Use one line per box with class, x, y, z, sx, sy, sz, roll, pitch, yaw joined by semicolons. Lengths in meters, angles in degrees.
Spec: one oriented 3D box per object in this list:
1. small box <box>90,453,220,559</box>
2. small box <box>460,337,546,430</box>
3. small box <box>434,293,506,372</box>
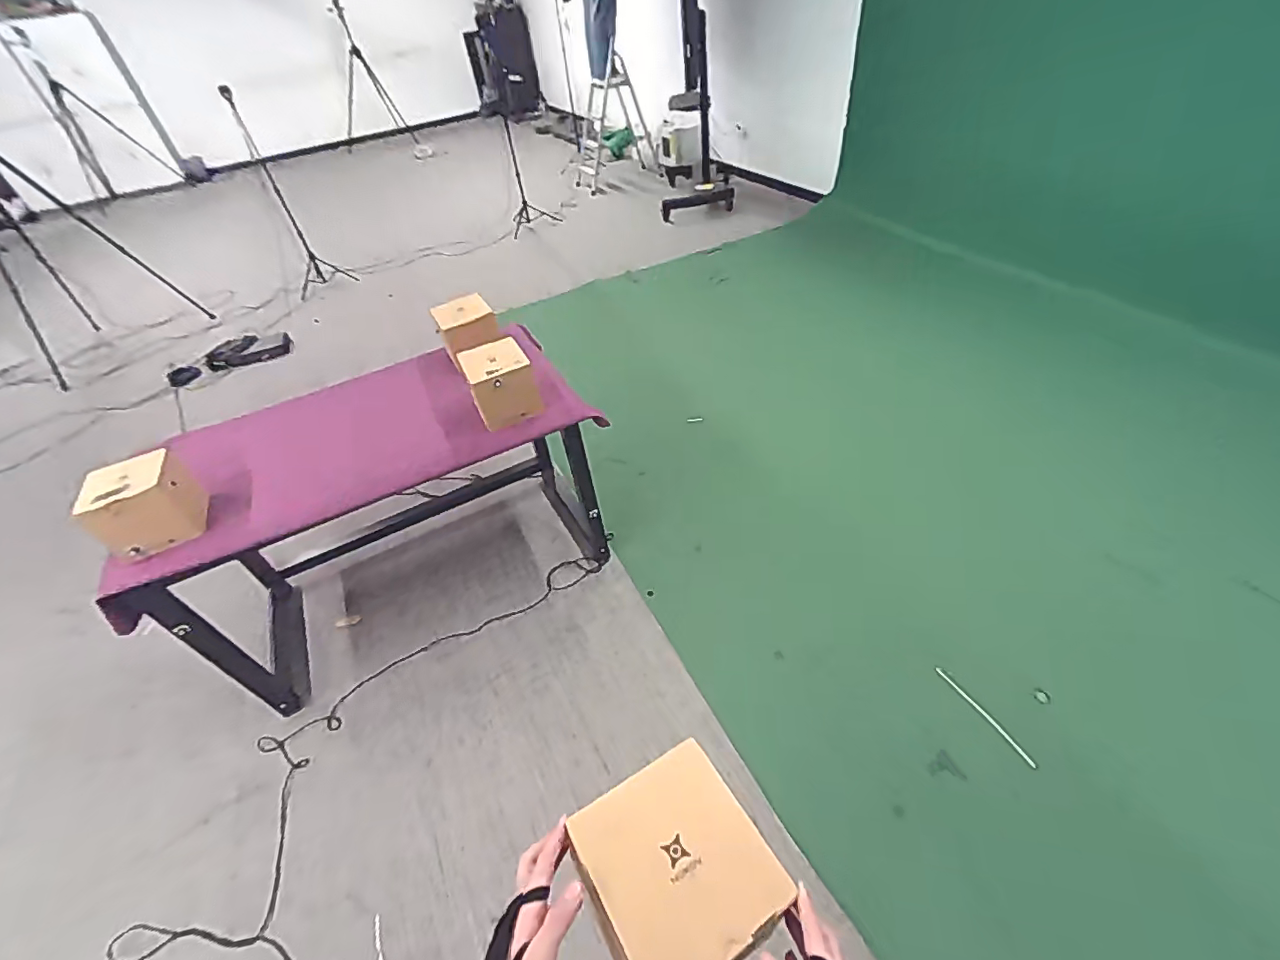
small box;-1.176;0.071;1.329;0.168;0.176;0.179;-25;44;-15
small box;-0.384;-0.271;1.529;0.168;0.176;0.179;-25;46;-13
small box;-0.546;-0.479;1.768;0.168;0.176;0.179;-28;48;-13
